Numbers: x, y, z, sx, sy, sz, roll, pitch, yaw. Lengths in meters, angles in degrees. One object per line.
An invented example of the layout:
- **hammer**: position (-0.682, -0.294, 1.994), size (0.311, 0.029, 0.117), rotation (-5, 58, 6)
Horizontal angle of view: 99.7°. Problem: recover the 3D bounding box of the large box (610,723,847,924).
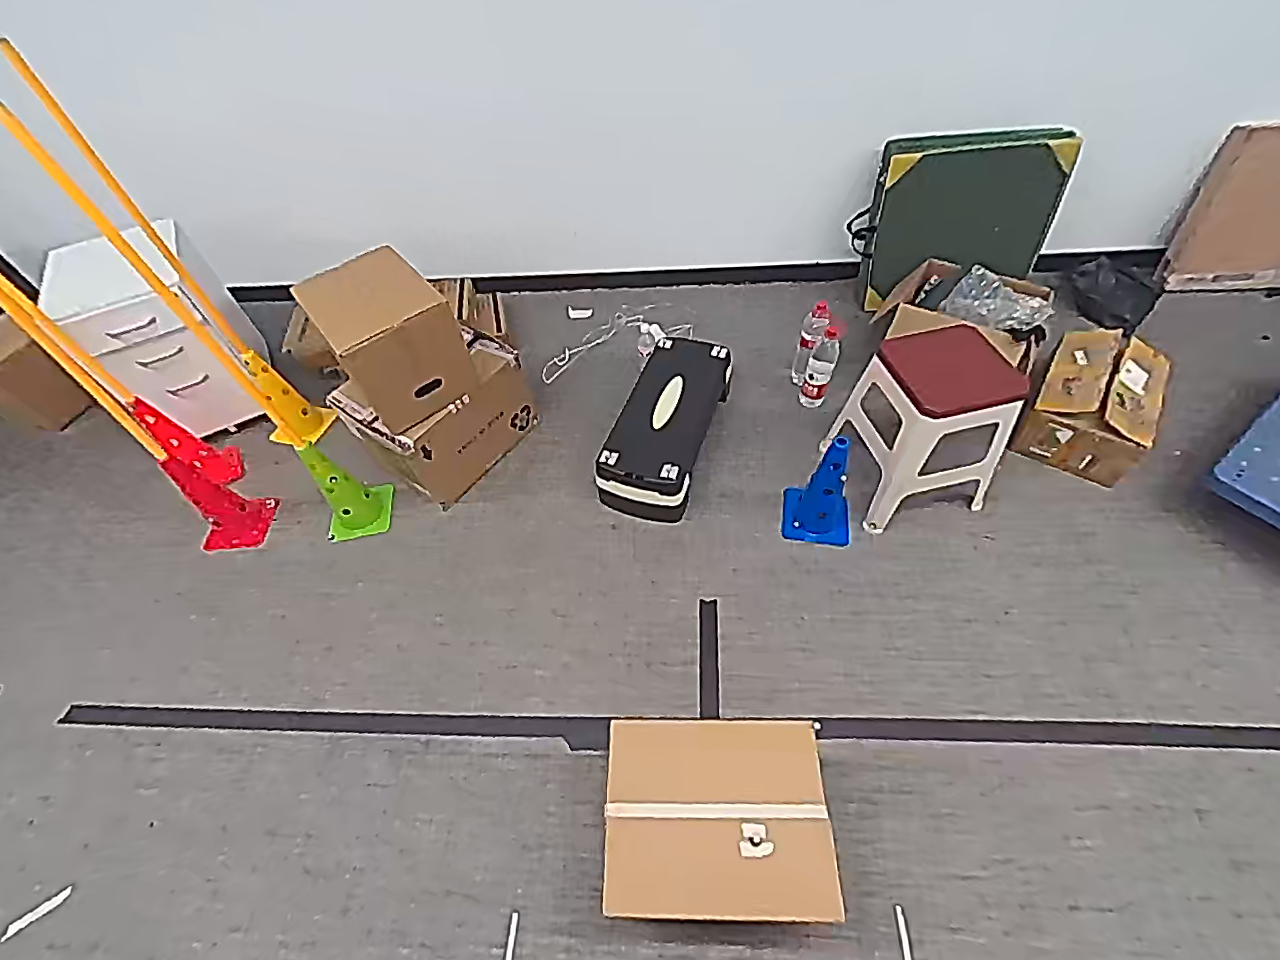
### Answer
- **large box**: position (0.151, 0.701, 1.105), size (0.408, 0.320, 0.320), rotation (-1, 53, 3)
